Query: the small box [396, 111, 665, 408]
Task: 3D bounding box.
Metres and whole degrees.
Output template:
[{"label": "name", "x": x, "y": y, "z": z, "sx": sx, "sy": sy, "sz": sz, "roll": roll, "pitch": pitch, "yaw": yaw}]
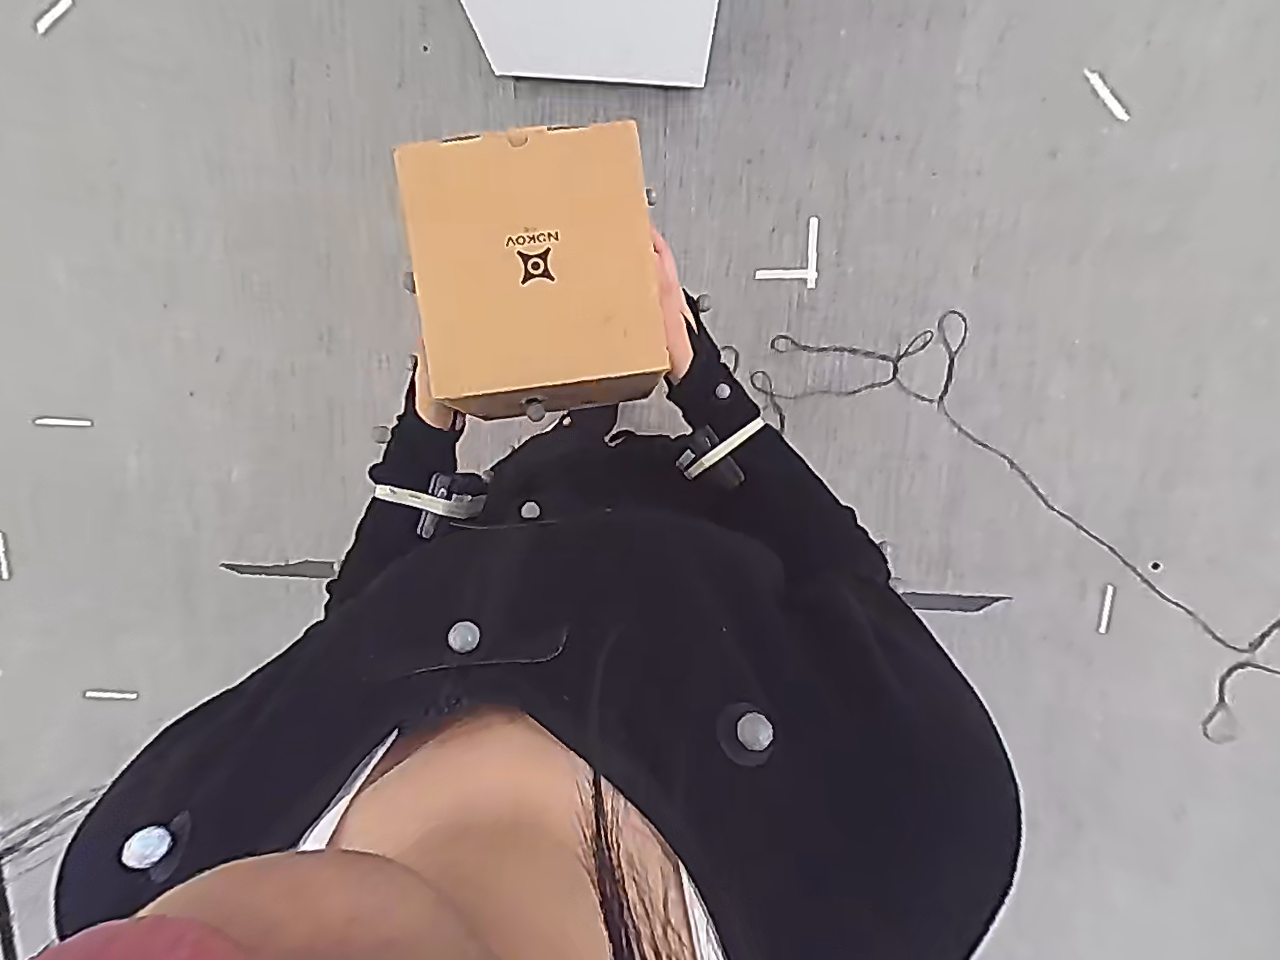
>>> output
[{"label": "small box", "x": -0.077, "y": -0.158, "z": 0.448, "sx": 0.168, "sy": 0.176, "sz": 0.179, "roll": -9, "pitch": 91, "yaw": -4}]
